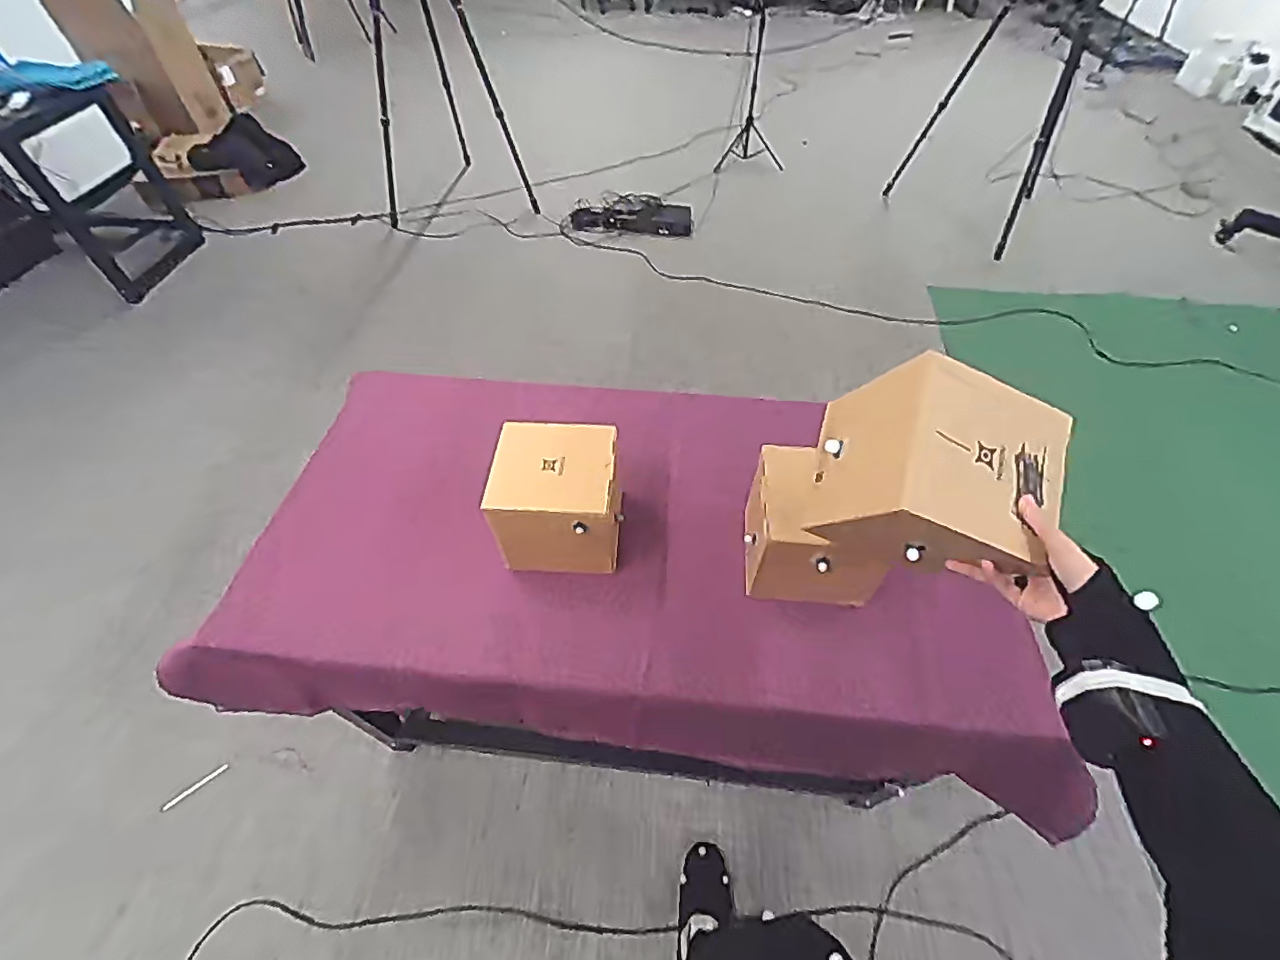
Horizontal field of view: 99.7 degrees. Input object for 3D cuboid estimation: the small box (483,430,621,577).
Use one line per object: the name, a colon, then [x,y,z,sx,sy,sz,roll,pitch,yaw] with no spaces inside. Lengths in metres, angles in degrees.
small box: [-0.124,0.039,0.841,0.179,0.176,0.168,2,51,1]

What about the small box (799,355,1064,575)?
small box: [0.303,-0.002,0.584,0.179,0.176,0.168,20,74,-10]

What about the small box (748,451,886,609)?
small box: [0.257,0.078,0.803,0.179,0.176,0.168,5,52,4]
